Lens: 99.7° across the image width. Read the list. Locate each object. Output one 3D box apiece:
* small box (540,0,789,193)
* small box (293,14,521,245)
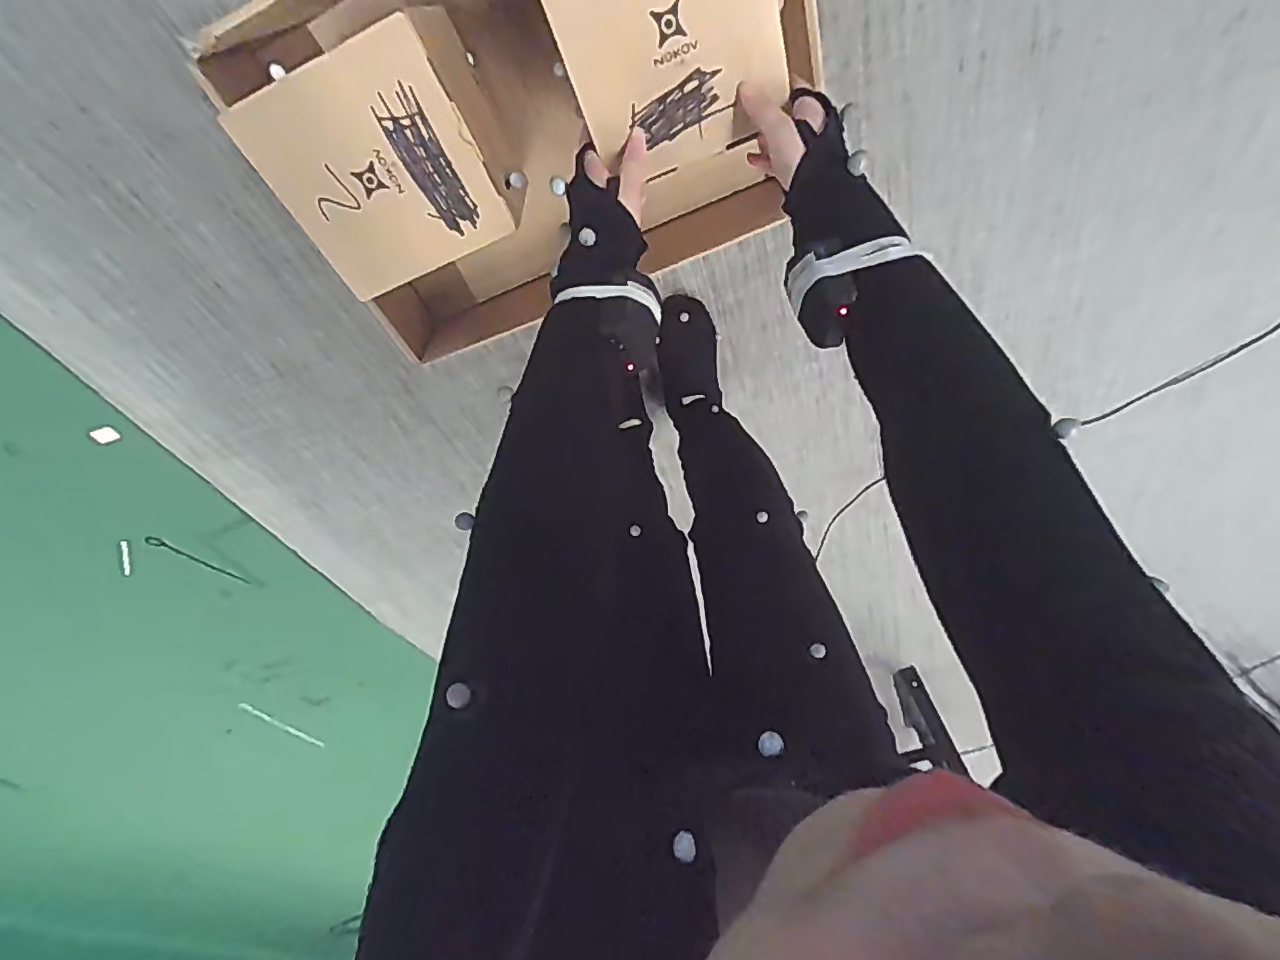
[{"bbox_3d":[0.017,-0.391,0.470,0.168,0.176,0.179,-18,131,11],"label":"small box"},{"bbox_3d":[-0.252,-0.416,0.643,0.168,0.176,0.179,-16,131,7],"label":"small box"}]
